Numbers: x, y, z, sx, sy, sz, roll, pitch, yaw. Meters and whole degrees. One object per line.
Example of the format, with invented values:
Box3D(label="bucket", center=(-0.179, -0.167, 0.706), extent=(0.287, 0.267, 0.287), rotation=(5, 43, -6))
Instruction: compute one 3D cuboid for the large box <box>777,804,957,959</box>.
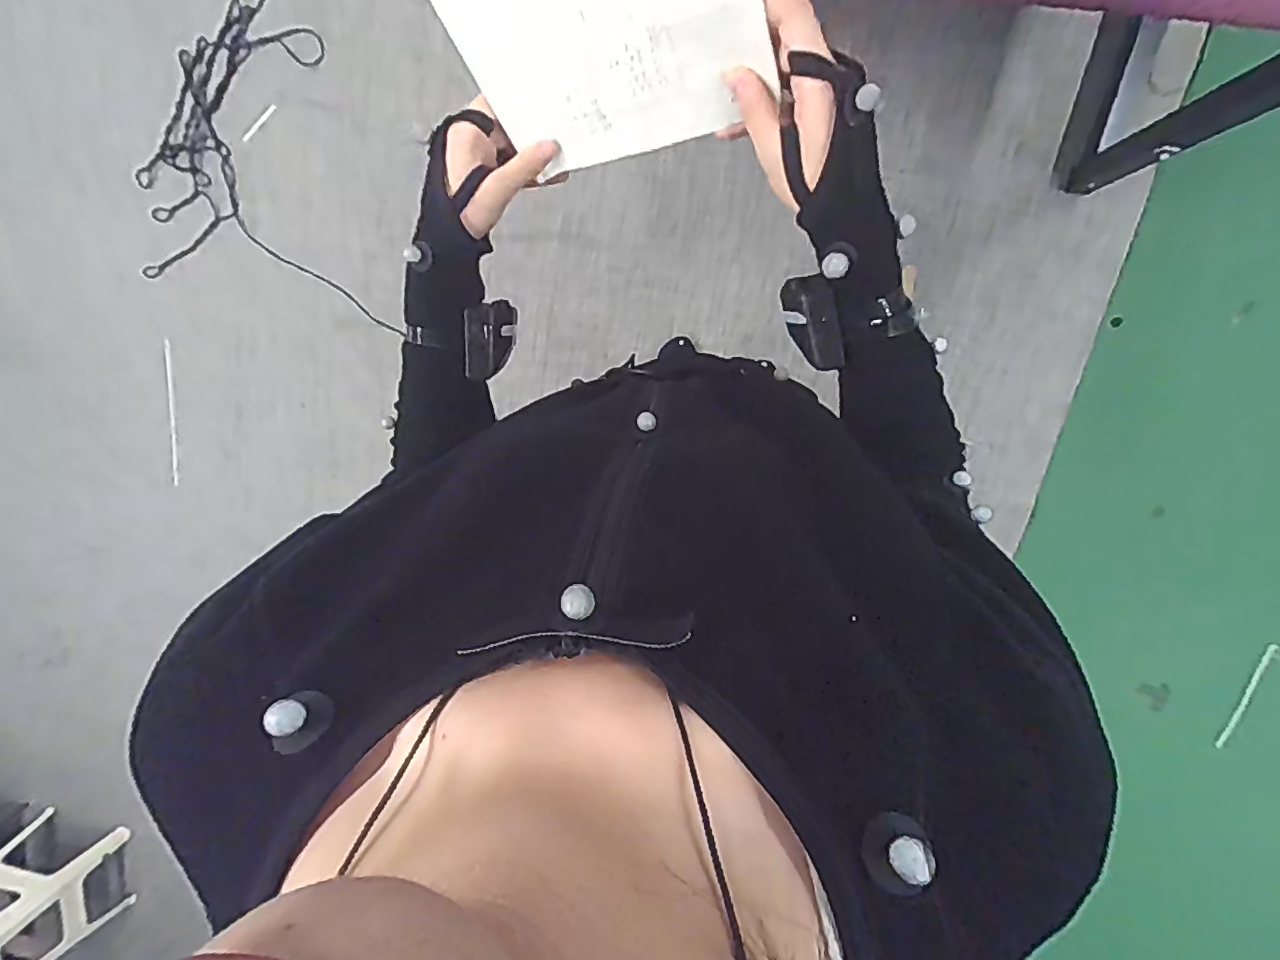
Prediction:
Box3D(label="large box", center=(0.618, 1.176, 1.541), extent=(0.408, 0.320, 0.320), rotation=(-2, 103, 7))
